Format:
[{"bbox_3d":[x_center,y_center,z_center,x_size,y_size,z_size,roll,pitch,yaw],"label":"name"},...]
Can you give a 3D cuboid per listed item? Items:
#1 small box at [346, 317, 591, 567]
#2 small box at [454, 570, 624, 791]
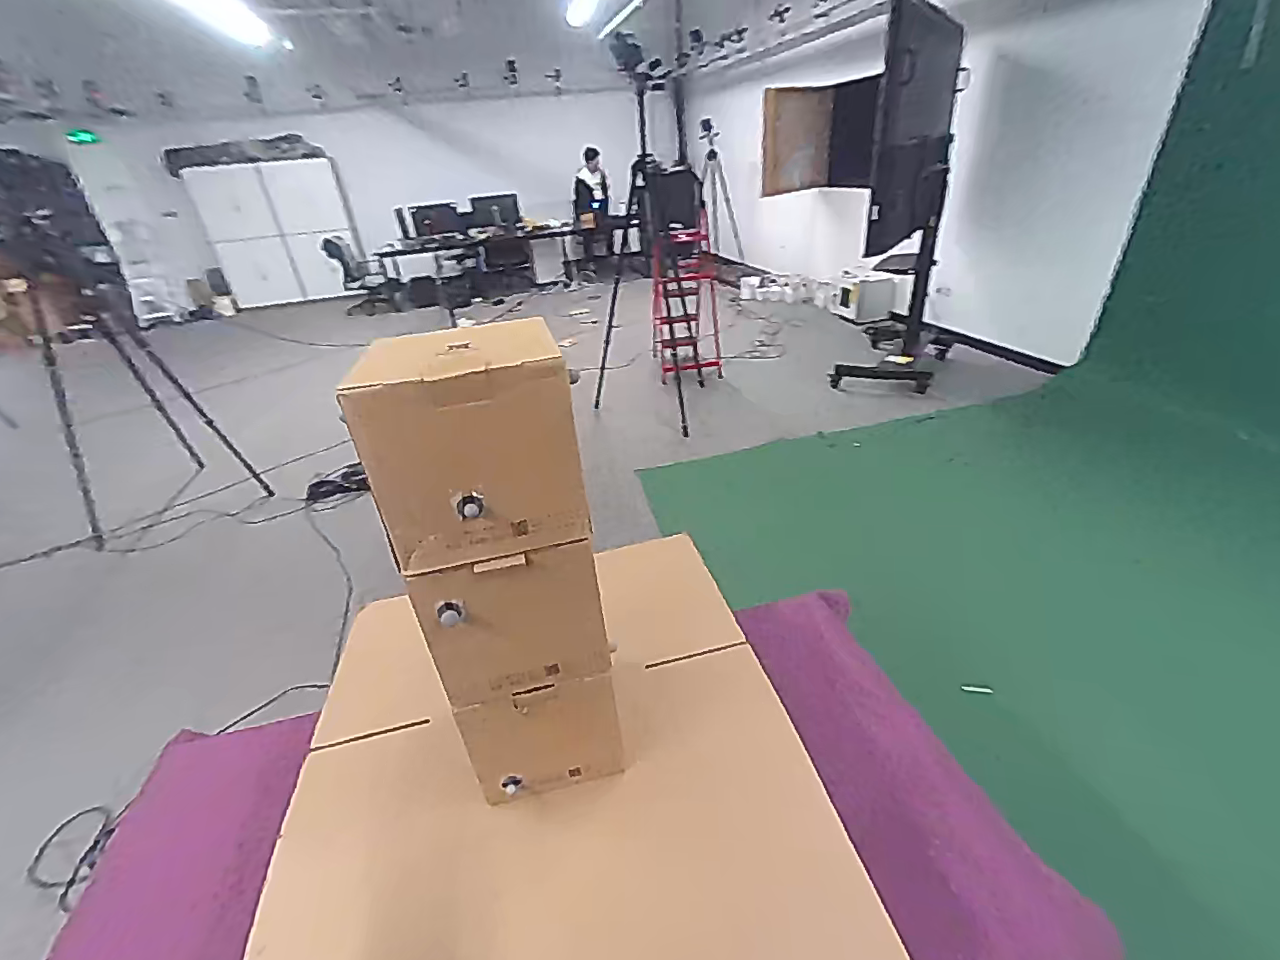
[{"bbox_3d":[-0.146,-0.045,0.506,0.168,0.176,0.179,-11,29,-11],"label":"small box"},{"bbox_3d":[-0.122,0.244,0.660,0.168,0.176,0.179,-12,31,-12],"label":"small box"}]
